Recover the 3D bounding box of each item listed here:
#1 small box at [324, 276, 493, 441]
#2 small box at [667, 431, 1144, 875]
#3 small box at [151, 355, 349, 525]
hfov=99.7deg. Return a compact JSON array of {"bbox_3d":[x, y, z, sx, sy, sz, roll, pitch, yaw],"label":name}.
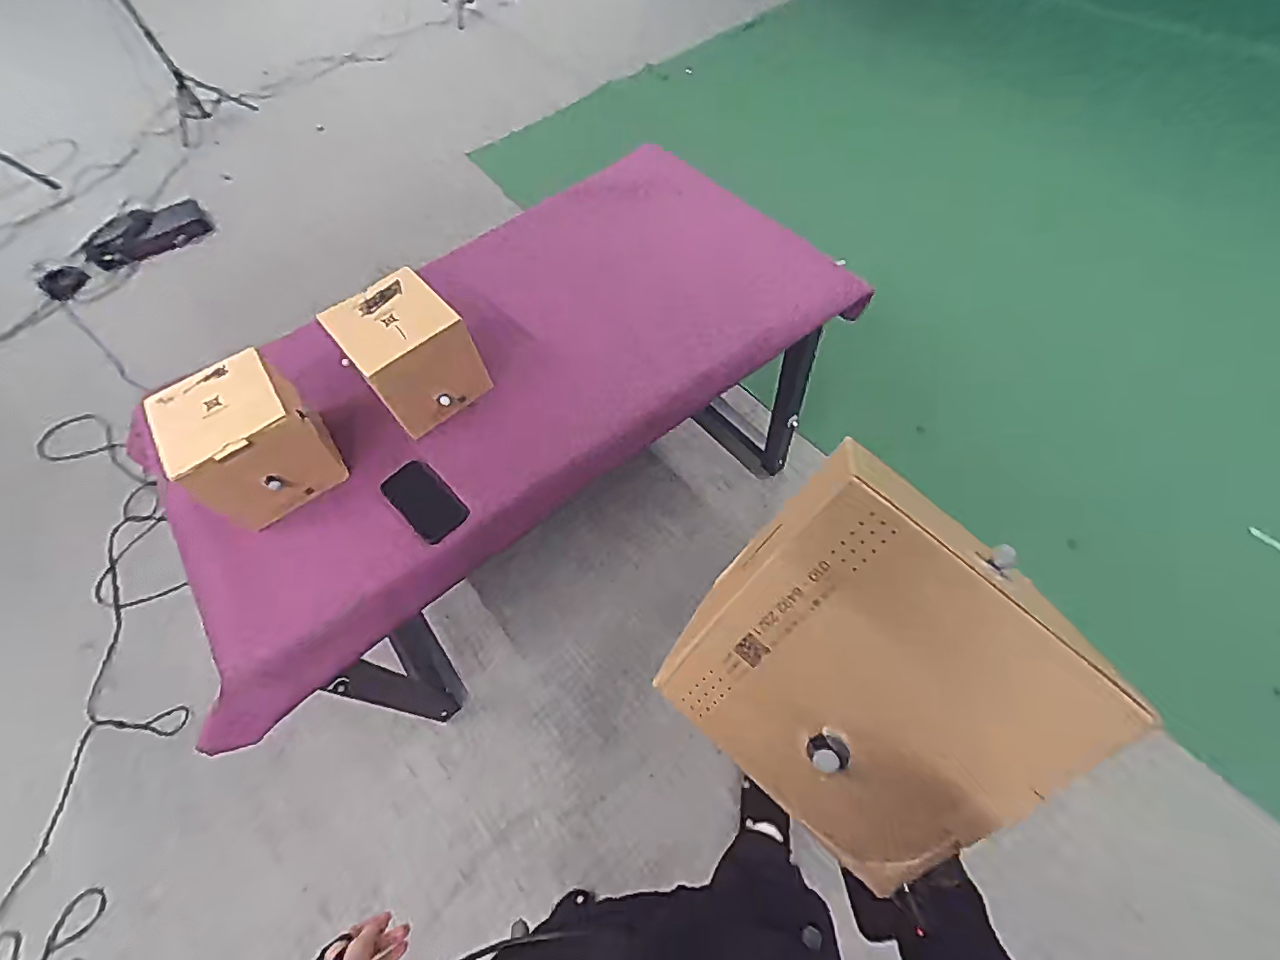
[{"bbox_3d":[-0.378,-0.199,0.906,0.168,0.176,0.179,-39,64,-16],"label":"small box"},{"bbox_3d":[0.141,0.084,0.350,0.176,0.179,0.168,40,110,10],"label":"small box"},{"bbox_3d":[-0.591,-0.051,0.839,0.168,0.176,0.179,-34,63,-14],"label":"small box"}]
